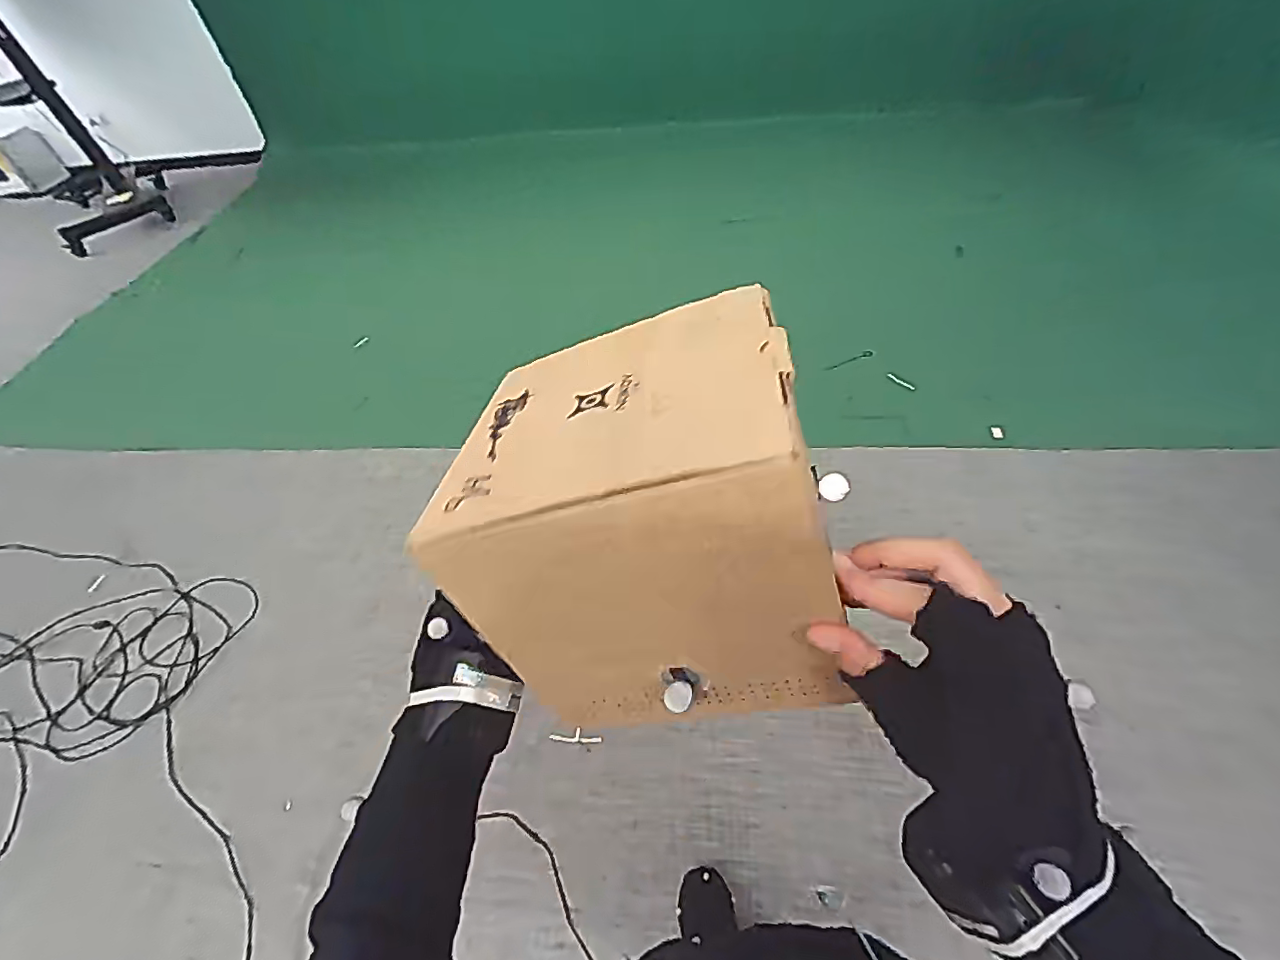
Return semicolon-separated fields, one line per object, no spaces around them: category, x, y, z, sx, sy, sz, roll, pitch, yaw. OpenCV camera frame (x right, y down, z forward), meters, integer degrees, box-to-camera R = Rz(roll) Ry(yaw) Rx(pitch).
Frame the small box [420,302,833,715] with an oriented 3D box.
small box;0.013;0.021;0.333;0.179;0.176;0.168;-13;34;17
